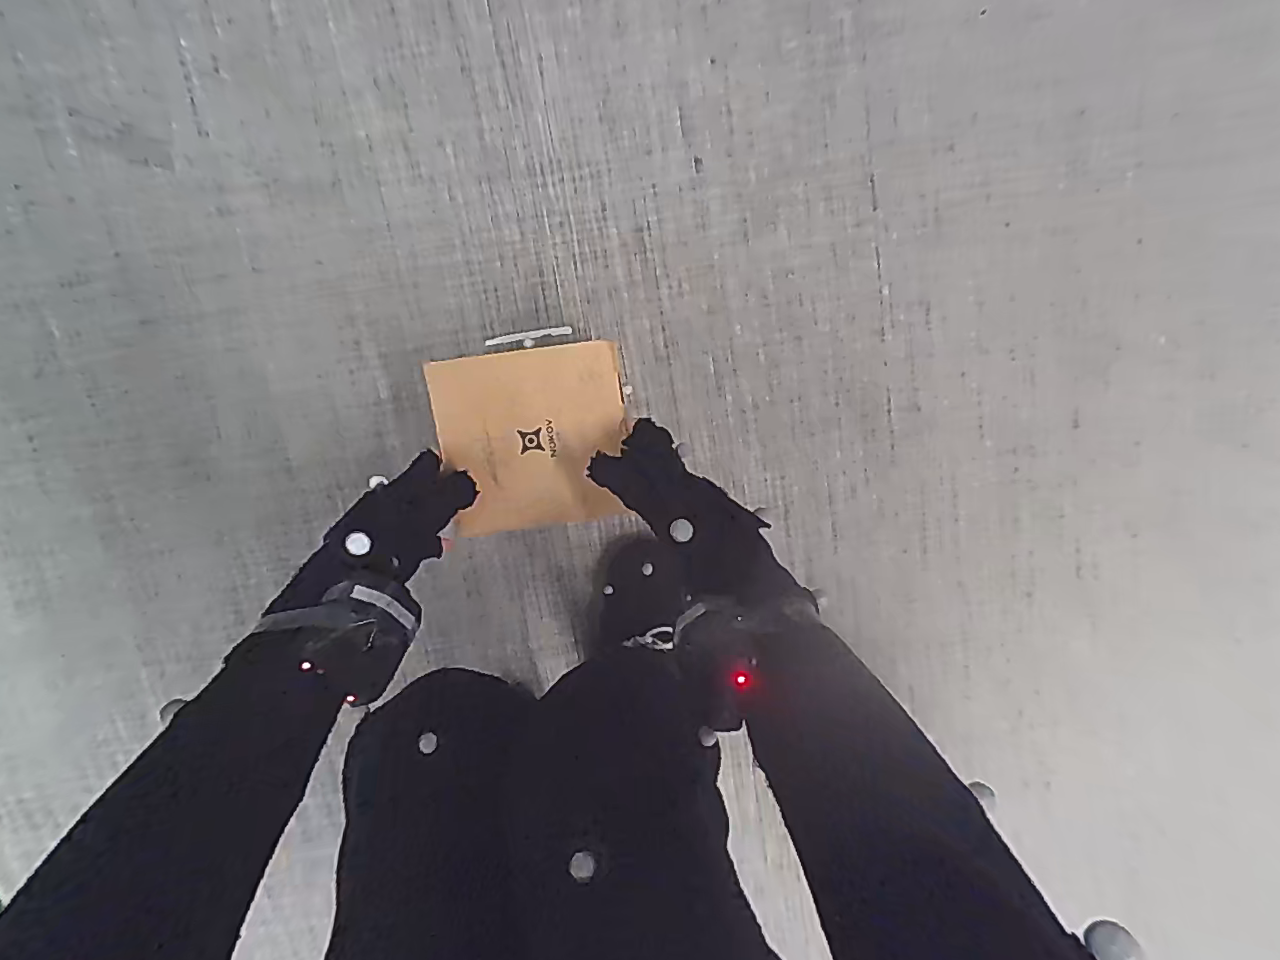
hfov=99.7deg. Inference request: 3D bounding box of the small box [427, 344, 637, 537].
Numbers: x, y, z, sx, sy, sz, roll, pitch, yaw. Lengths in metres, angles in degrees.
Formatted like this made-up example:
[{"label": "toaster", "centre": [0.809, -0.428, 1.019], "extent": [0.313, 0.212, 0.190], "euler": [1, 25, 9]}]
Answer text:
[{"label": "small box", "centre": [-0.105, -0.048, 0.589], "extent": [0.179, 0.176, 0.168], "euler": [-9, 99, -2]}]
